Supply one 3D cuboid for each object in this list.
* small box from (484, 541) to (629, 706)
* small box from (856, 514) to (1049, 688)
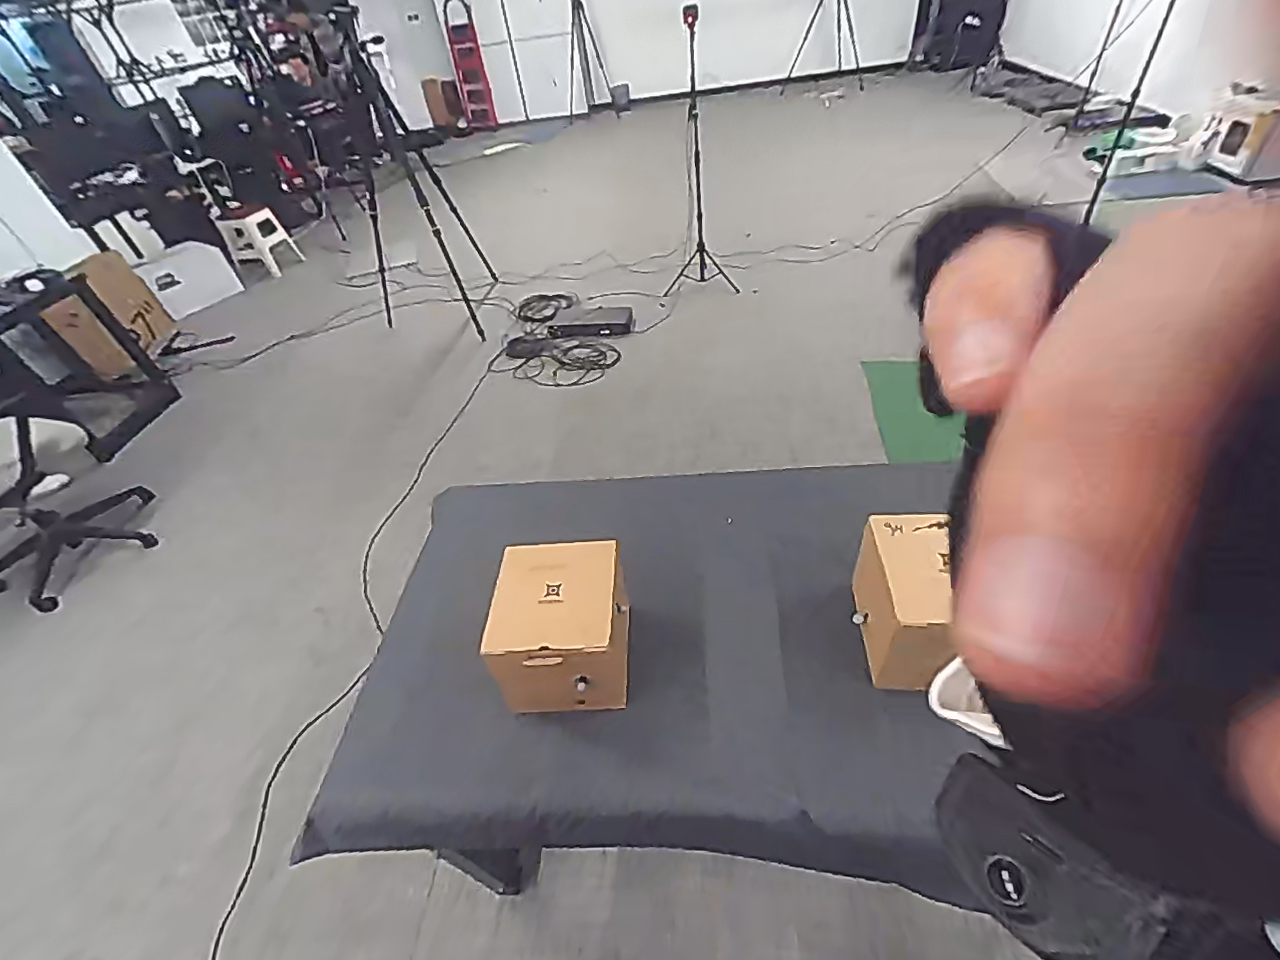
[{"bbox_3d":[-0.106,0.210,0.778,0.168,0.176,0.179,-4,41,4],"label":"small box"},{"bbox_3d":[0.403,0.166,0.735,0.168,0.176,0.179,-1,44,9],"label":"small box"}]
